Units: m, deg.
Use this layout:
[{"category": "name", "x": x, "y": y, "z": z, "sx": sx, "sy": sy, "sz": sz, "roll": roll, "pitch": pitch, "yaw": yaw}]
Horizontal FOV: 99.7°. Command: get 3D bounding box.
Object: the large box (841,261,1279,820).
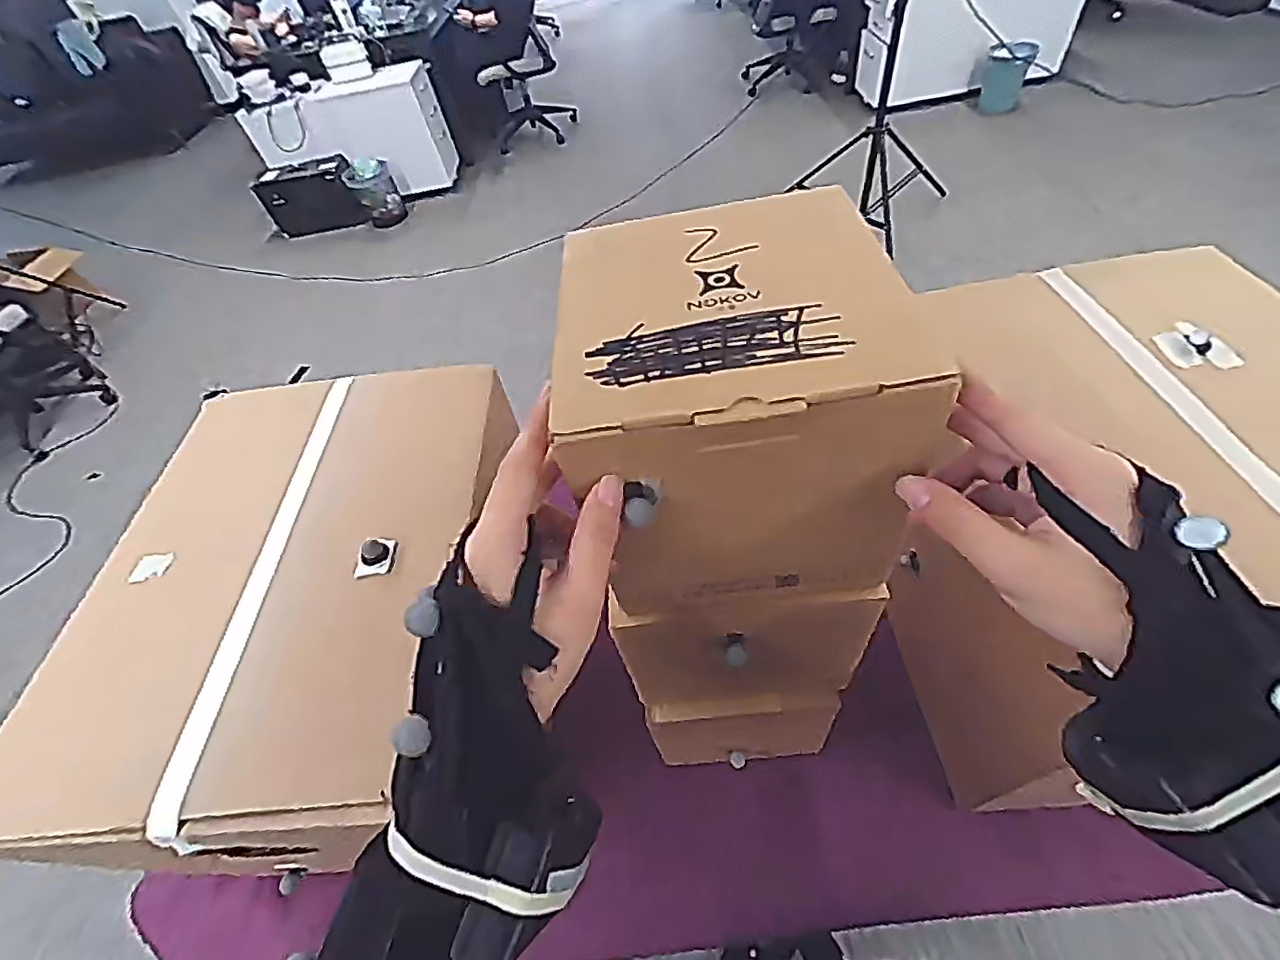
[{"category": "large box", "x": 0.420, "y": 0.056, "z": 0.518, "sx": 0.320, "sy": 0.320, "sz": 0.408, "roll": -8, "pitch": 50, "yaw": 4}]
